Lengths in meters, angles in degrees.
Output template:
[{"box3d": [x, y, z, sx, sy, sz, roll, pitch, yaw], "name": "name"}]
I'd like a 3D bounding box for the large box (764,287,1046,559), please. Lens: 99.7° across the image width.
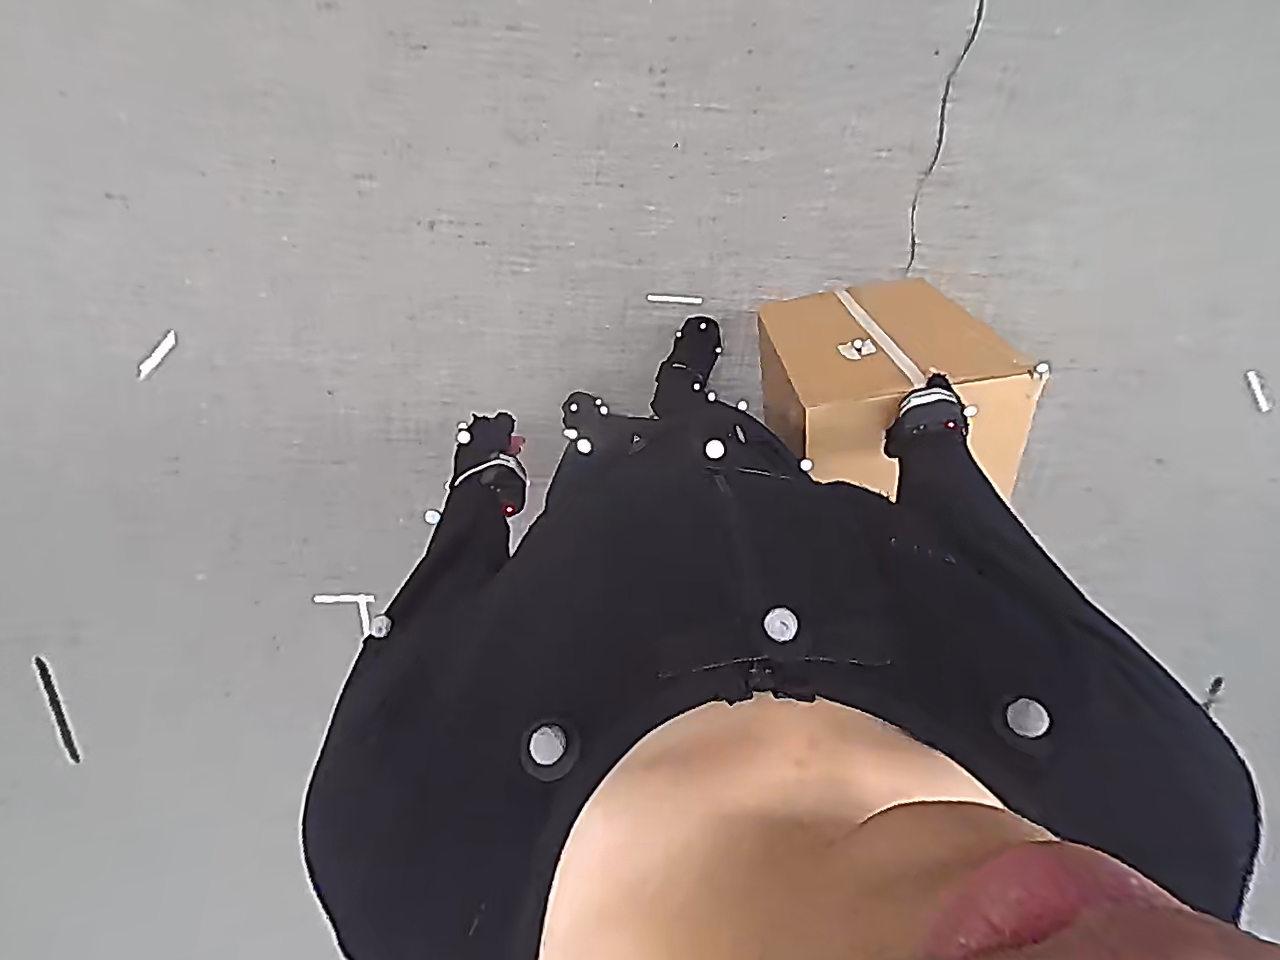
[{"box3d": [0.419, -0.116, 0.986, 0.320, 0.408, 0.320, -8, 128, 6], "name": "large box"}]
